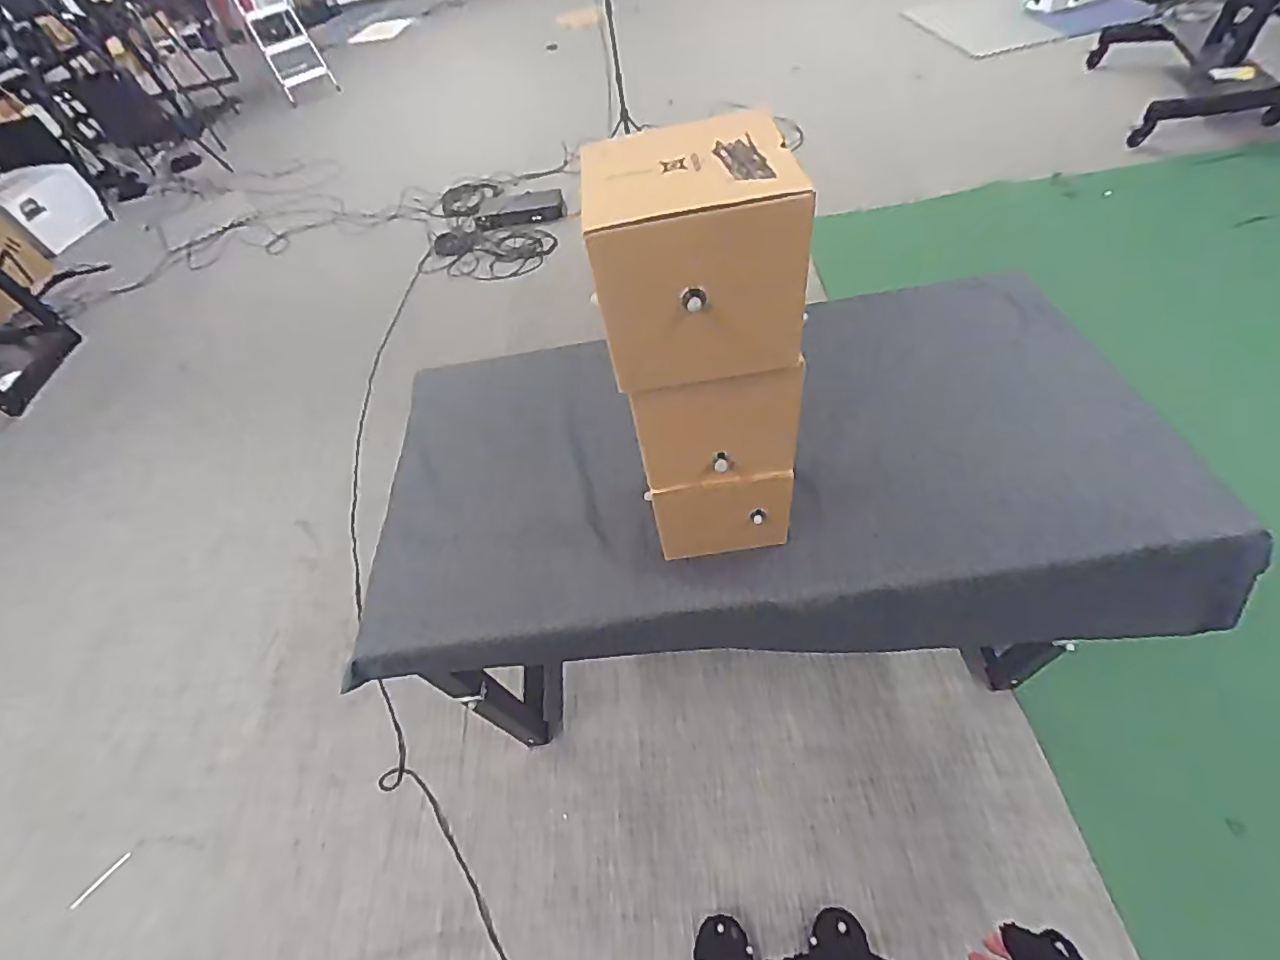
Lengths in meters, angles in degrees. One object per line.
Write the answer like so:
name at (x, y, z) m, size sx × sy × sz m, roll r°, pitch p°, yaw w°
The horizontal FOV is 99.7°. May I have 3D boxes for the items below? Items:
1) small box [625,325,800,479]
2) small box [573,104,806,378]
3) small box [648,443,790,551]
small box at (0.077, -0.121, 0.642) m, size 0.179 × 0.176 × 0.168 m, roll -8°, pitch 52°, yaw 4°
small box at (0.045, -0.216, 0.509) m, size 0.179 × 0.176 × 0.168 m, roll -6°, pitch 51°, yaw 6°
small box at (0.102, -0.018, 0.767) m, size 0.179 × 0.176 × 0.168 m, roll -10°, pitch 52°, yaw 5°
